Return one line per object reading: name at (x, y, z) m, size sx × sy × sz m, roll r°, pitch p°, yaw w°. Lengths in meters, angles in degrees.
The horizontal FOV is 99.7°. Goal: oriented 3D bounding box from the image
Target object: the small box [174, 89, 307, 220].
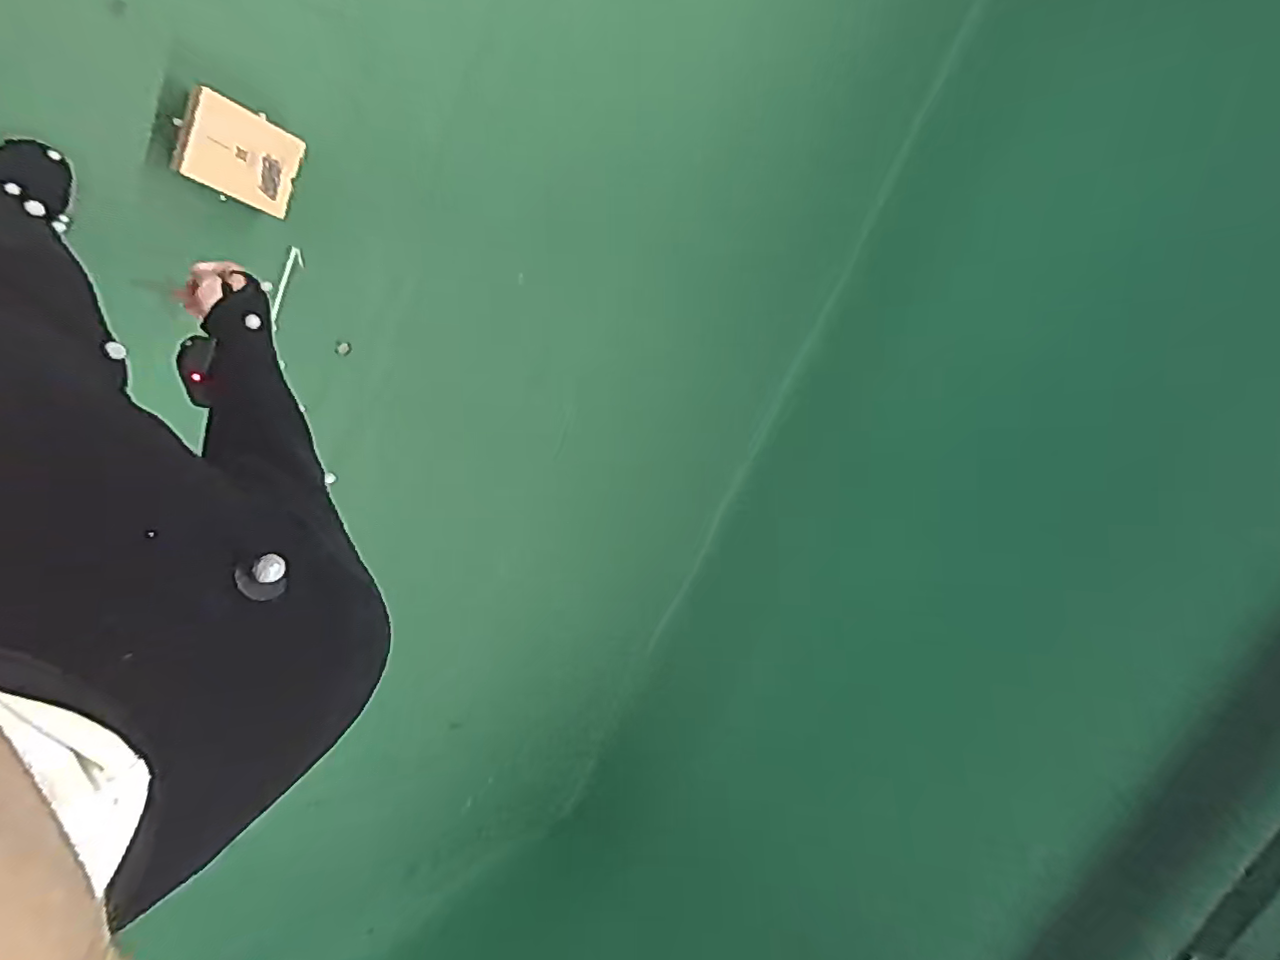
small box at (-0.833, -0.672, 1.123) m, size 0.179 × 0.176 × 0.168 m, roll 15°, pitch 104°, yaw -48°
